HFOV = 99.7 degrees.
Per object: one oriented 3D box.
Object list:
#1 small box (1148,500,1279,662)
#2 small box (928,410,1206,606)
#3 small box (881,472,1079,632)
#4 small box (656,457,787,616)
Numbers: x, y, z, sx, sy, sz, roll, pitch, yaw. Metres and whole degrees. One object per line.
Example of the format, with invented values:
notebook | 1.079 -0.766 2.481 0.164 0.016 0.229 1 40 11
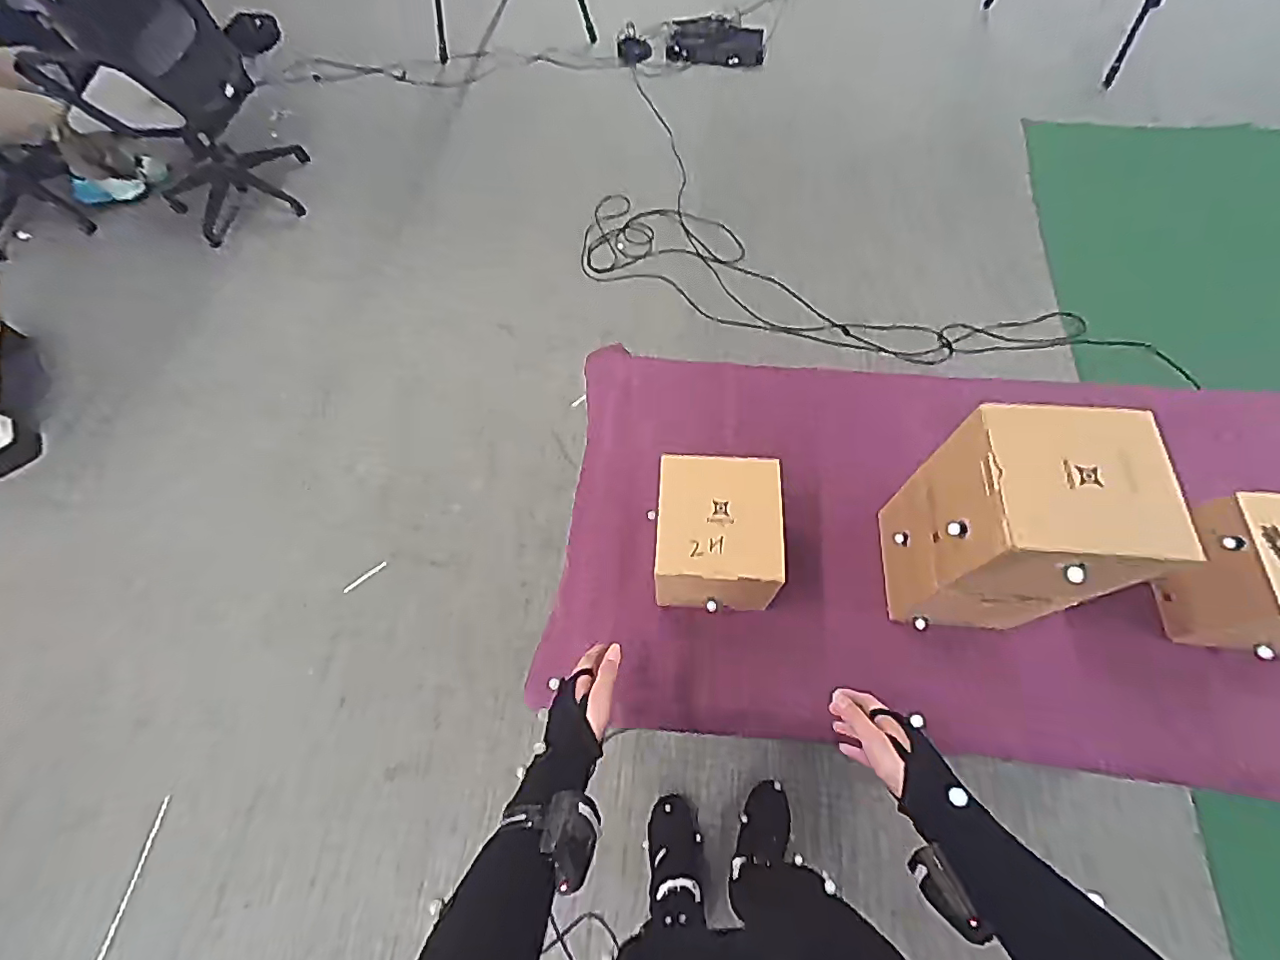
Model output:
small box | 0.844 0.142 0.723 0.179 0.176 0.168 5 64 5
small box | 0.449 0.039 0.611 0.179 0.176 0.168 5 65 4
small box | 0.456 0.108 0.758 0.168 0.176 0.179 4 63 4
small box | 0.111 0.086 0.783 0.168 0.176 0.179 3 64 4
